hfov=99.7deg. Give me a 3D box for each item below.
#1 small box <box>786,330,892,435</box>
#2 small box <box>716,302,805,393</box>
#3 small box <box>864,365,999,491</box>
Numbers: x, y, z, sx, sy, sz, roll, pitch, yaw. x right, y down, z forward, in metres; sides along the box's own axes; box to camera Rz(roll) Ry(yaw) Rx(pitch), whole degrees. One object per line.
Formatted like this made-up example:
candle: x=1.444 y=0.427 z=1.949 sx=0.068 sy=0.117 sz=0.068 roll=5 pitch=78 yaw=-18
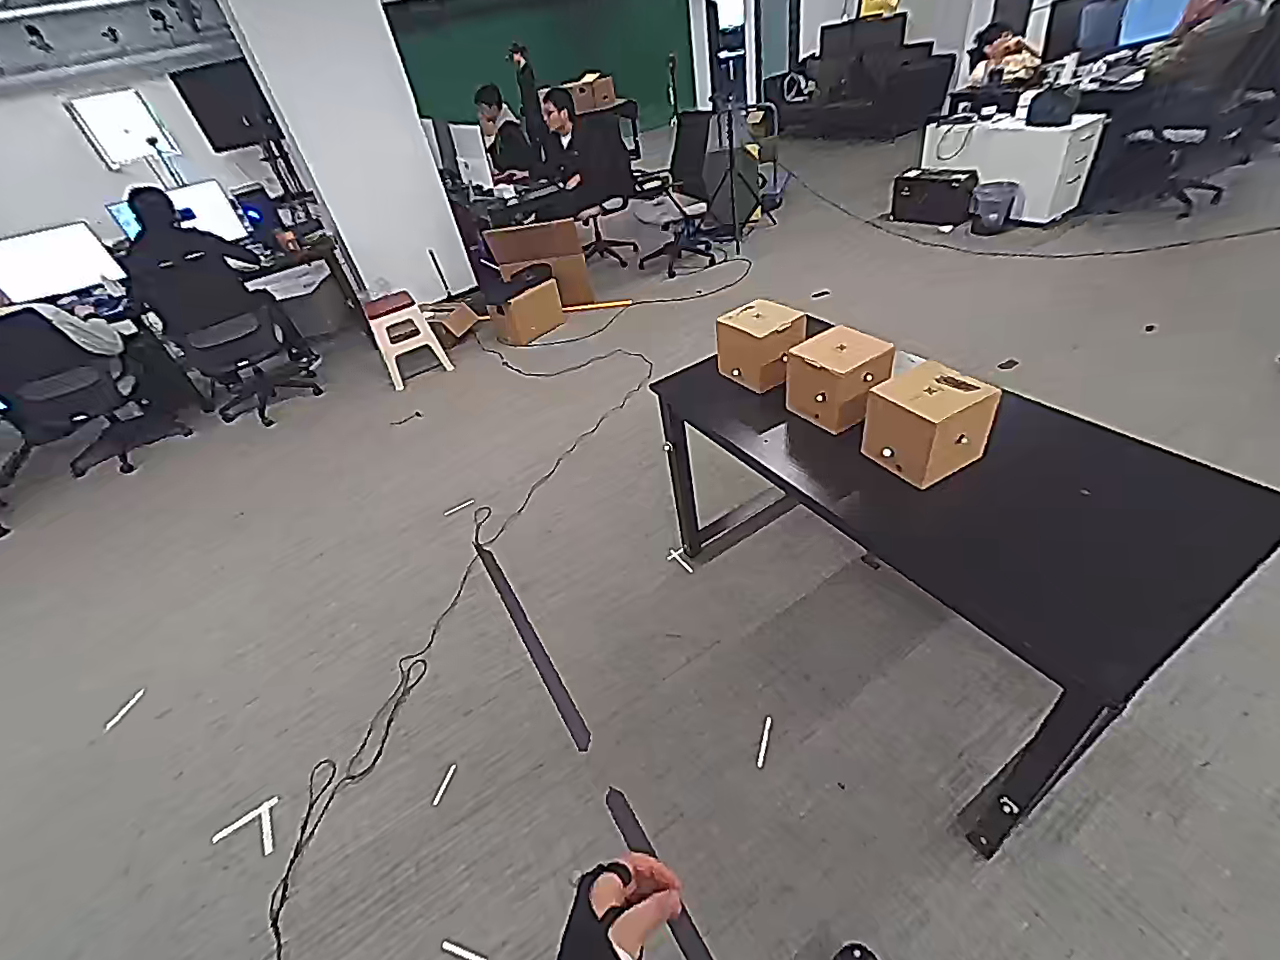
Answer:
small box: x=0.473 y=-0.235 z=1.304 sx=0.179 sy=0.176 sz=0.168 roll=-27 pitch=43 yaw=-20
small box: x=0.329 y=-0.360 z=1.484 sx=0.168 sy=0.176 sz=0.179 roll=-29 pitch=43 yaw=-21
small box: x=0.592 y=-0.109 z=1.123 sx=0.179 sy=0.176 sz=0.168 roll=-25 pitch=41 yaw=-15
